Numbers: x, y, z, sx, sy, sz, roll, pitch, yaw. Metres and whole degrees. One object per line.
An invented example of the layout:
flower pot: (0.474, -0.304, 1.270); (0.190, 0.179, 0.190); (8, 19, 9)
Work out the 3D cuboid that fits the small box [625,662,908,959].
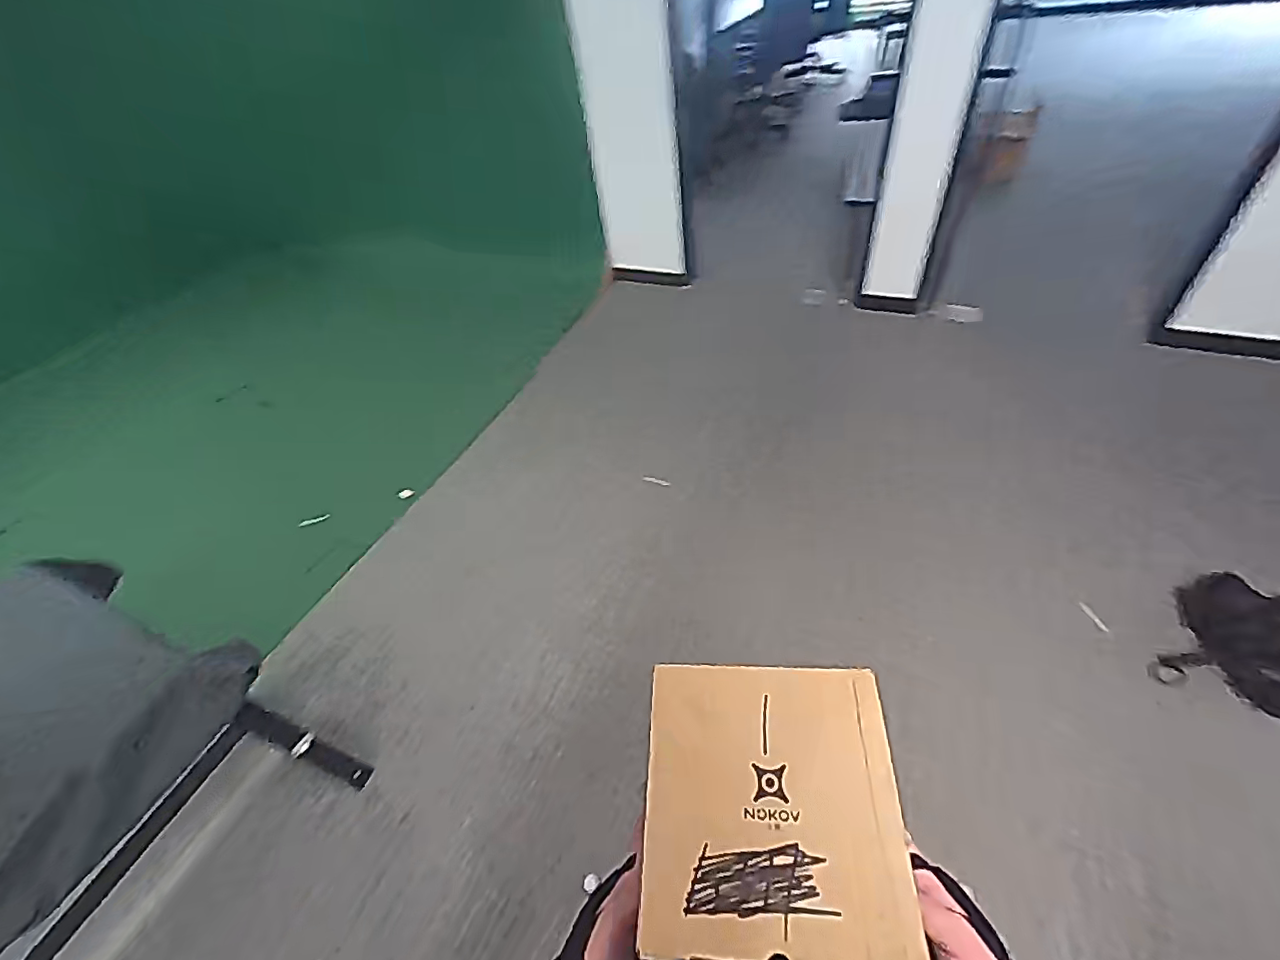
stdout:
small box: (0.088, 0.259, 0.424); (0.168, 0.176, 0.179); (-2, 51, 8)
